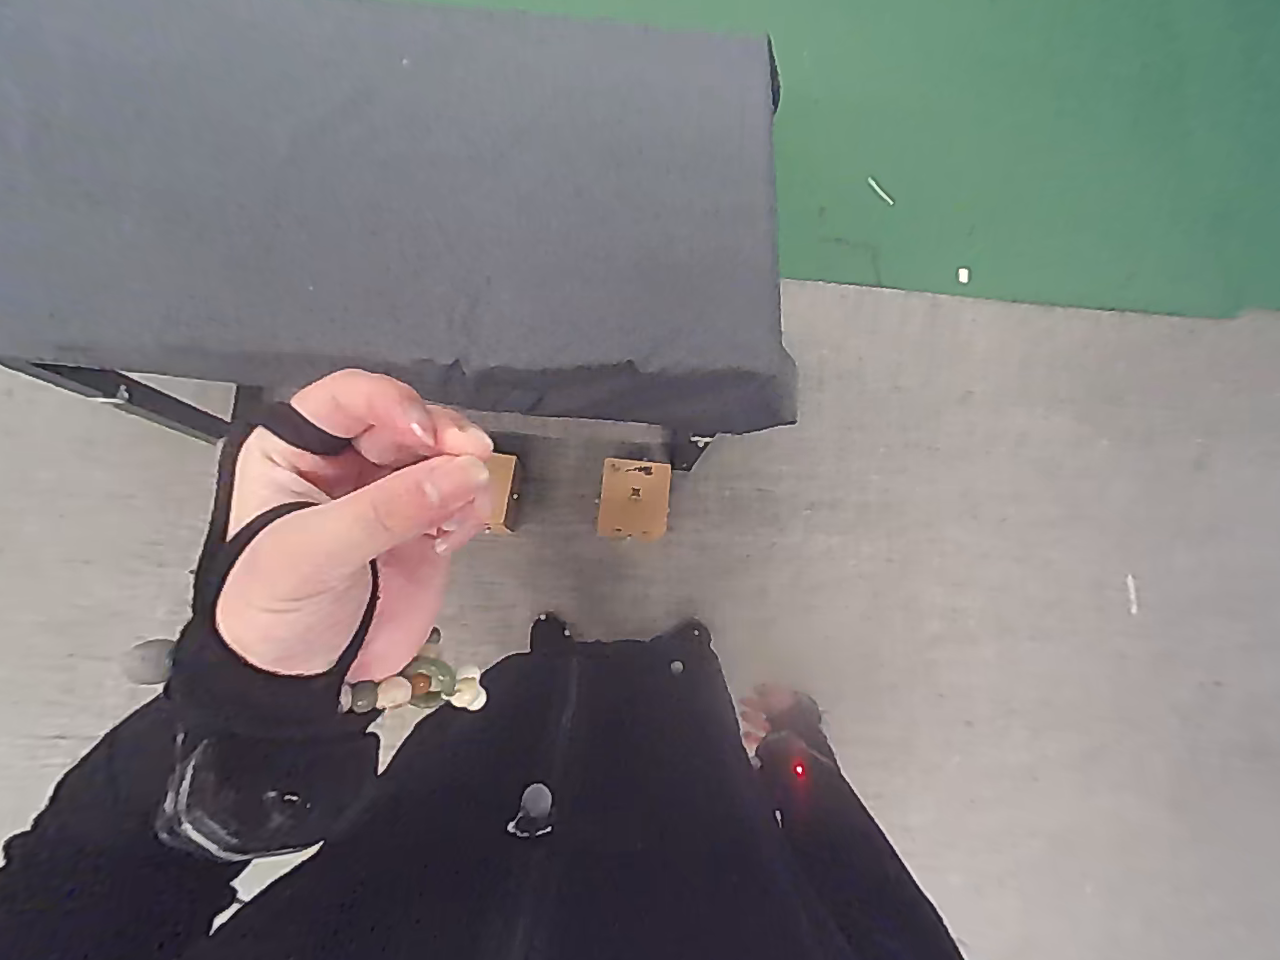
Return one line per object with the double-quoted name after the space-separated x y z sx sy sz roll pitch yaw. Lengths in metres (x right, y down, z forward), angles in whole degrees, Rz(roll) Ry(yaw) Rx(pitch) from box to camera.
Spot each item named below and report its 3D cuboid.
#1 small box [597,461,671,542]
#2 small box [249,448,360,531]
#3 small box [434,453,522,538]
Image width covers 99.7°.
-0.017 0.061 1.375 0.168 0.176 0.179 5 77 -3 "small box"
-0.808 0.028 1.322 0.168 0.176 0.179 1 79 -4 "small box"
-0.395 0.046 1.352 0.168 0.176 0.179 7 77 -4 "small box"
